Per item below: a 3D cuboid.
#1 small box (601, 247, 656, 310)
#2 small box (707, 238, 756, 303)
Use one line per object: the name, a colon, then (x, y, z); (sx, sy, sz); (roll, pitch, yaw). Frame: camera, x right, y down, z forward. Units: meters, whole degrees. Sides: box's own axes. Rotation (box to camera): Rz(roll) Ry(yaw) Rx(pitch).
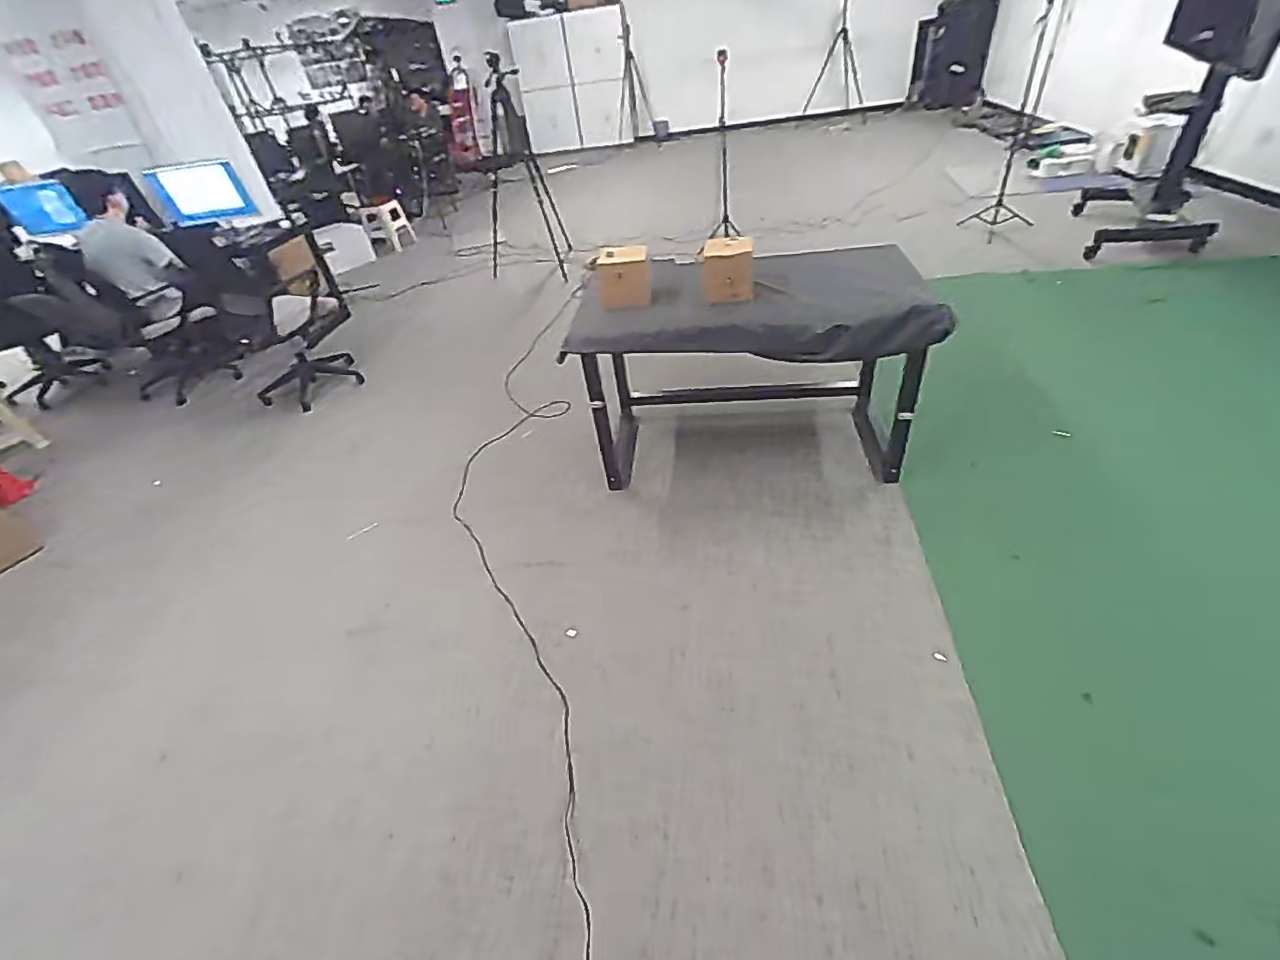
small box: (-0.037, -0.734, 1.976); (0.179, 0.176, 0.168); (-2, 40, 6)
small box: (0.327, -0.734, 1.909); (0.168, 0.176, 0.179); (0, 40, 11)
